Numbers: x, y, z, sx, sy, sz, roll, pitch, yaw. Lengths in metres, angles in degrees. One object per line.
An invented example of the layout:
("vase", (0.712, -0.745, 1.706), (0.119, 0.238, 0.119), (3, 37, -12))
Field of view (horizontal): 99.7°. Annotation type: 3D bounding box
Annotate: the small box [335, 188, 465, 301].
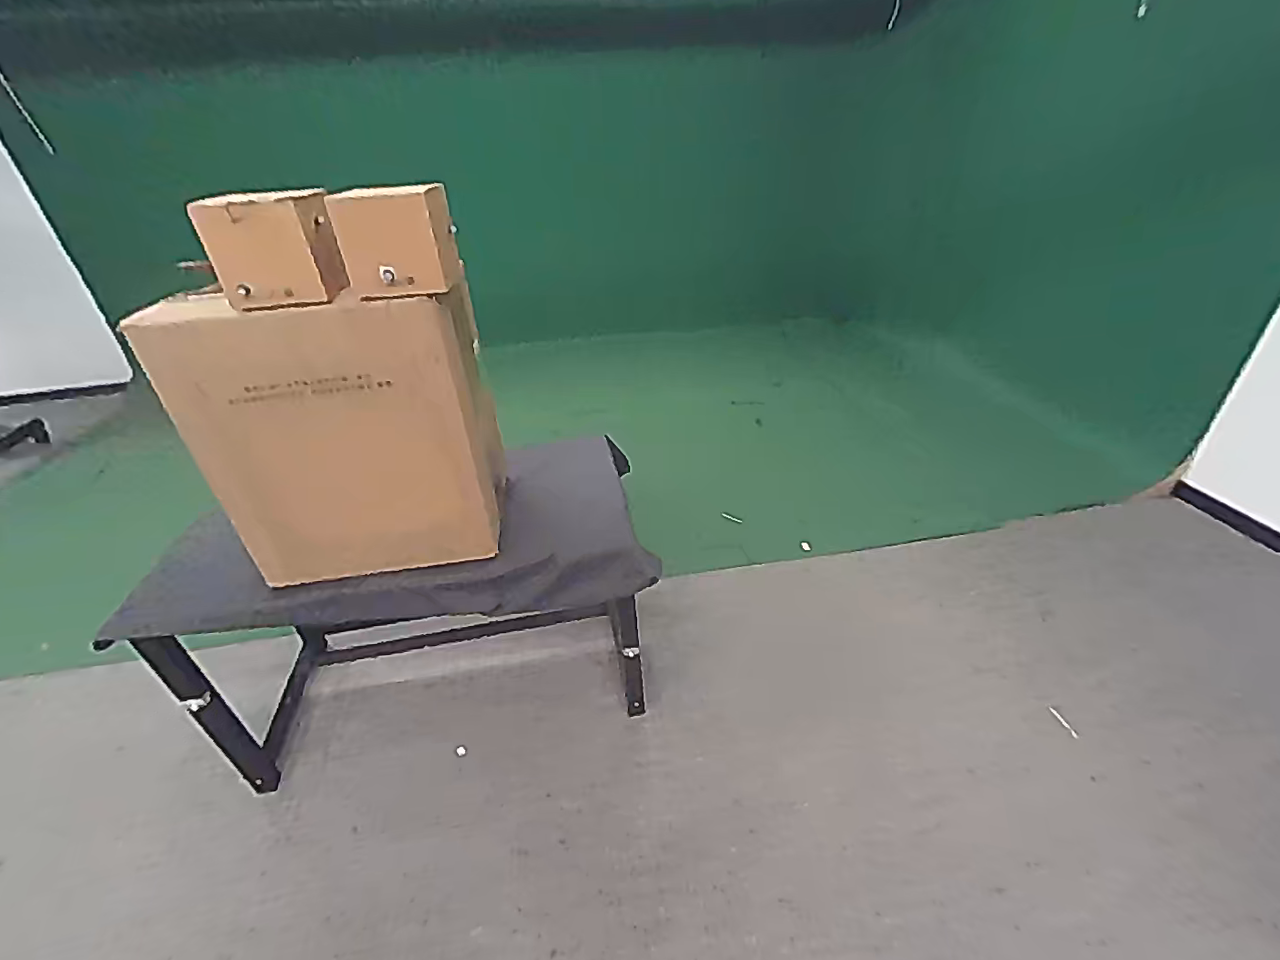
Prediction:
("small box", (-0.437, -0.446, 1.020), (0.168, 0.176, 0.179), (-7, 34, -5))
